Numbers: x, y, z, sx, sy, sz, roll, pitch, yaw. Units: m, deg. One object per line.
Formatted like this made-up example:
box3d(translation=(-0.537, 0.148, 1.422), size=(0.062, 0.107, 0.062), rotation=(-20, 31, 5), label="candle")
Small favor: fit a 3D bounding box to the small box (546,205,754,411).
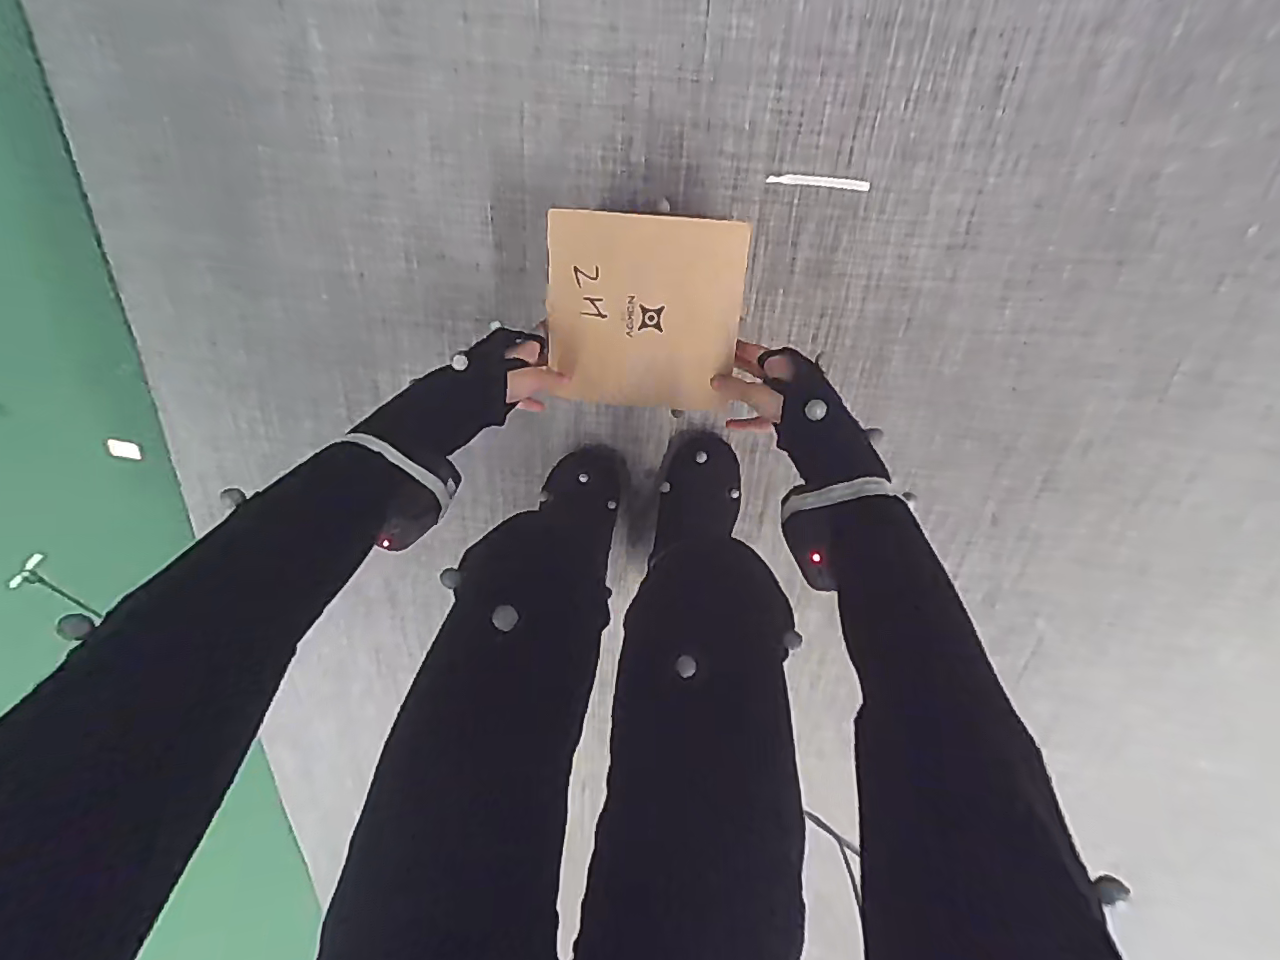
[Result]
box3d(translation=(0.008, -0.177, 0.560), size=(0.179, 0.176, 0.168), rotation=(6, 110, 2), label="small box")
